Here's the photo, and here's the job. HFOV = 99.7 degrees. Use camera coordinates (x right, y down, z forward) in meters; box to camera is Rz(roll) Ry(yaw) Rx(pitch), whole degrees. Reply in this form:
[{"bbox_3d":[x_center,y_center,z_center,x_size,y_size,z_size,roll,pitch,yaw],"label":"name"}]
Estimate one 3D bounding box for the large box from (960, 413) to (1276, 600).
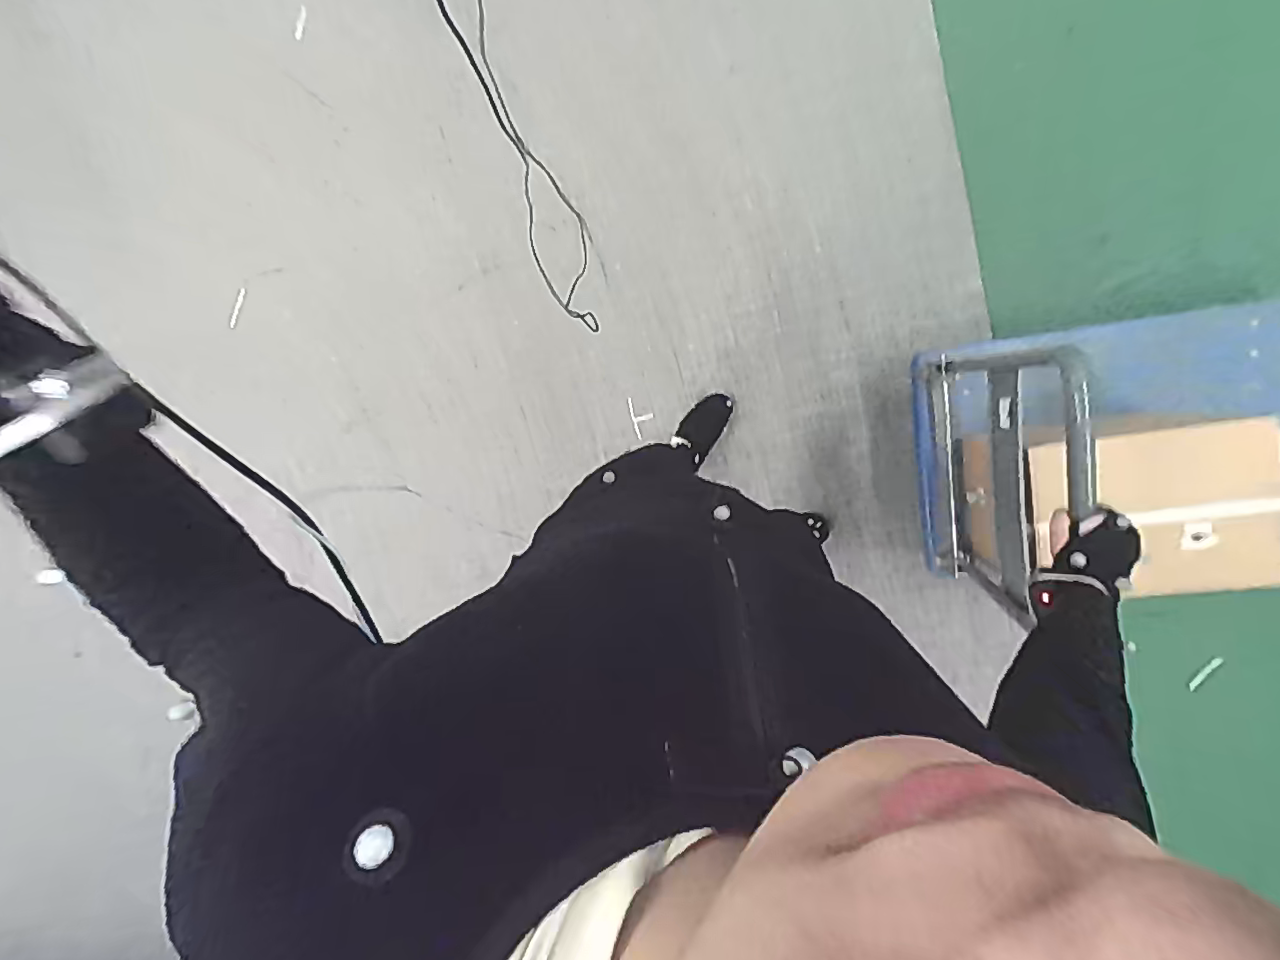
[{"bbox_3d":[0.974,0.040,1.158,0.408,0.320,0.320,-8,97,11],"label":"large box"}]
